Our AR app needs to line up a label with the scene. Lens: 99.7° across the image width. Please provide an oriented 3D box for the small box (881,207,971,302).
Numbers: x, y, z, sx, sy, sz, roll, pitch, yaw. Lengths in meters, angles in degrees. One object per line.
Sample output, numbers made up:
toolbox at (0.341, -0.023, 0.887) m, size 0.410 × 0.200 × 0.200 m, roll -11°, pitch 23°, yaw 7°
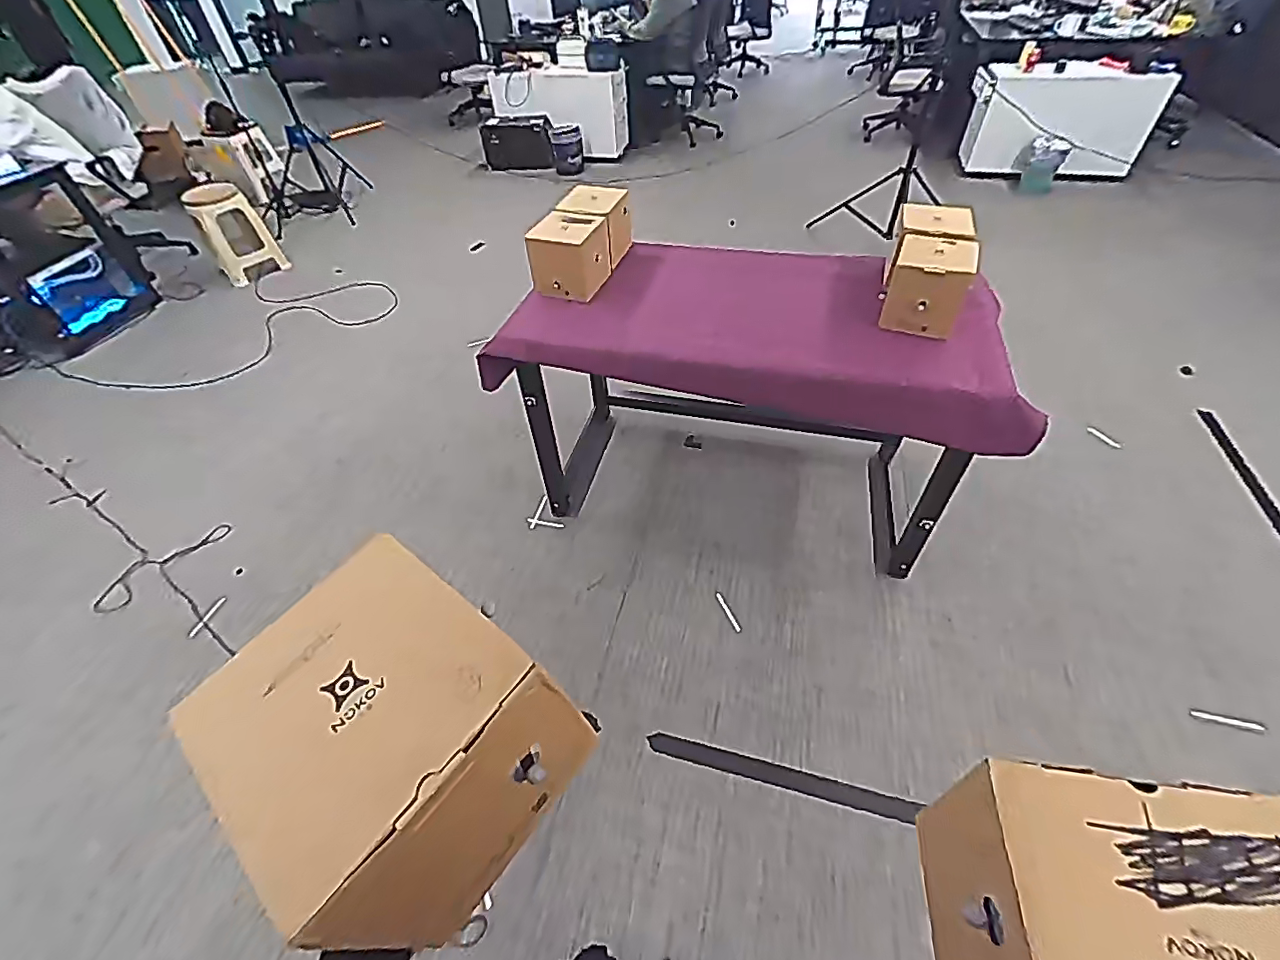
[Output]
small box at (0.749, -0.598, 1.433) m, size 0.168 × 0.176 × 0.179 m, roll 13°, pitch 48°, yaw 14°

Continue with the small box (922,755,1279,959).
small box at (0.283, 0.290, 0.317) m, size 0.168 × 0.176 × 0.179 m, roll 3°, pitch 49°, yaw 12°

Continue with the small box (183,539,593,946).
small box at (-0.158, 0.181, 0.388) m, size 0.179 × 0.176 × 0.168 m, roll 27°, pitch 59°, yaw 31°

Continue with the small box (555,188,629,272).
small box at (-0.137, -0.750, 1.620) m, size 0.168 × 0.176 × 0.179 m, roll 13°, pitch 50°, yaw 15°
